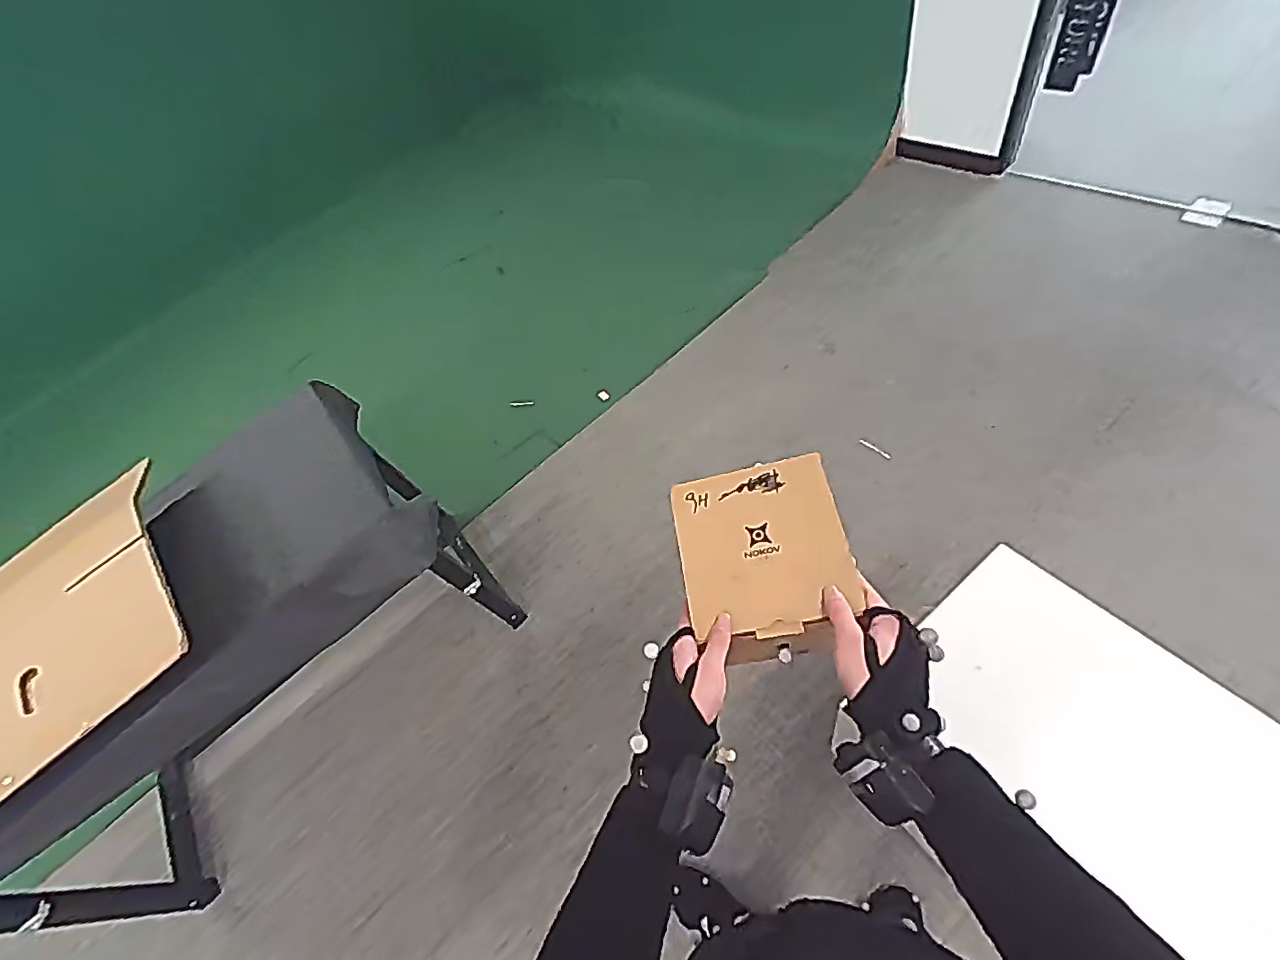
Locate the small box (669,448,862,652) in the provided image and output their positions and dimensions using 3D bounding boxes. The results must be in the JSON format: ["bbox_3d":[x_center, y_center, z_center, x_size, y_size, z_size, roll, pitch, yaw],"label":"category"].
[{"bbox_3d":[0.144,0.093,0.627,0.168,0.176,0.179,-15,61,10],"label":"small box"}]
